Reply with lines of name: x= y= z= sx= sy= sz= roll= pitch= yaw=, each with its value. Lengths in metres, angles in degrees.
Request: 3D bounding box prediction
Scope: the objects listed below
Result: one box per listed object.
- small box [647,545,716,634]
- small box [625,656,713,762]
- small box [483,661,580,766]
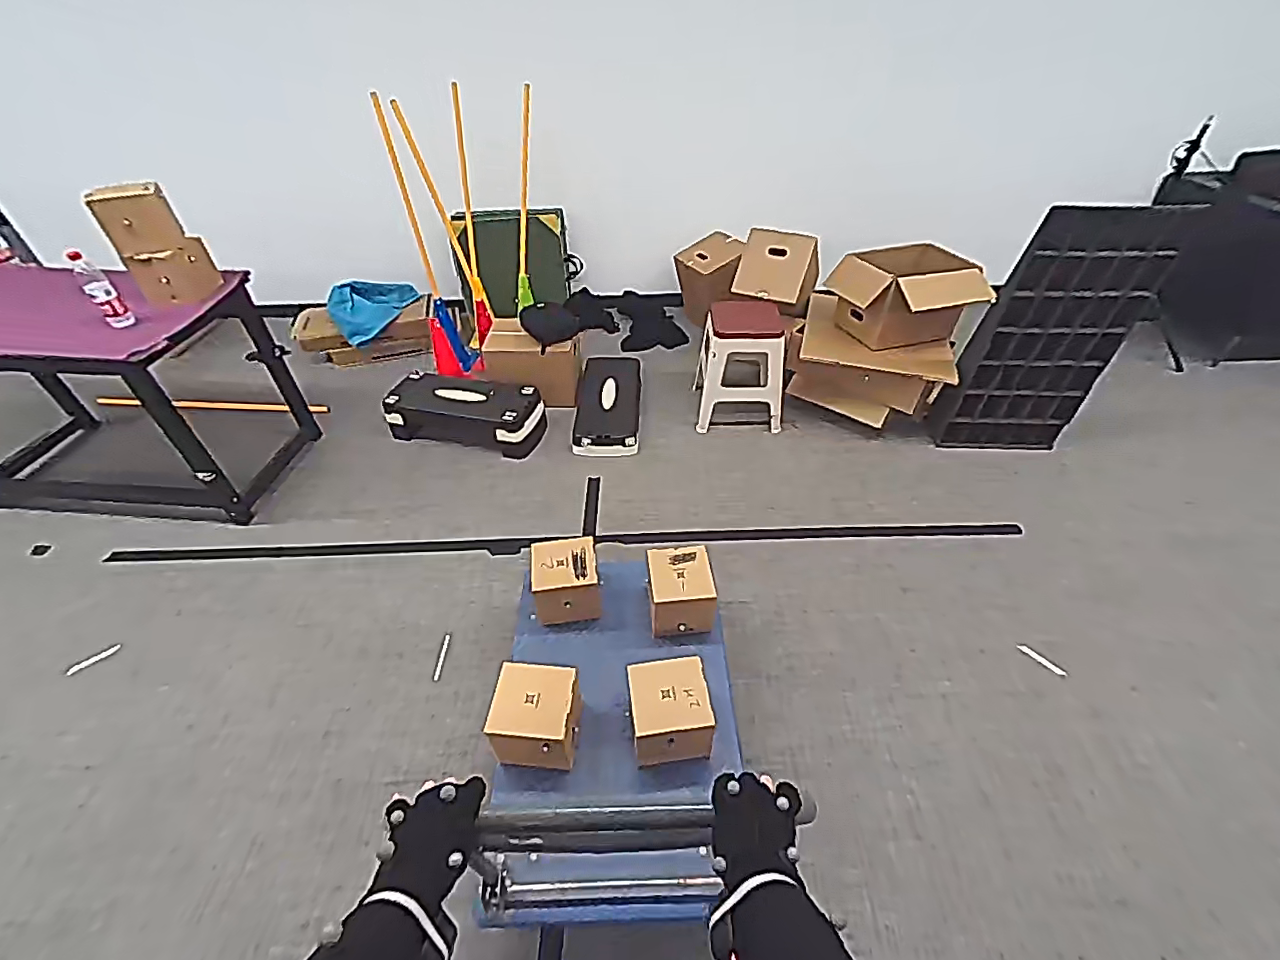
small box: x=0.109 y=0.303 z=1.493 sx=0.168 sy=0.176 sz=0.179 roll=-4 pitch=44 yaw=-3
small box: x=0.064 y=0.531 z=1.249 sx=0.179 sy=0.176 sz=0.168 roll=-5 pitch=43 yaw=-5
small box: x=-0.241 y=0.539 z=1.247 sx=0.179 sy=0.176 sz=0.168 roll=4 pitch=43 yaw=3
